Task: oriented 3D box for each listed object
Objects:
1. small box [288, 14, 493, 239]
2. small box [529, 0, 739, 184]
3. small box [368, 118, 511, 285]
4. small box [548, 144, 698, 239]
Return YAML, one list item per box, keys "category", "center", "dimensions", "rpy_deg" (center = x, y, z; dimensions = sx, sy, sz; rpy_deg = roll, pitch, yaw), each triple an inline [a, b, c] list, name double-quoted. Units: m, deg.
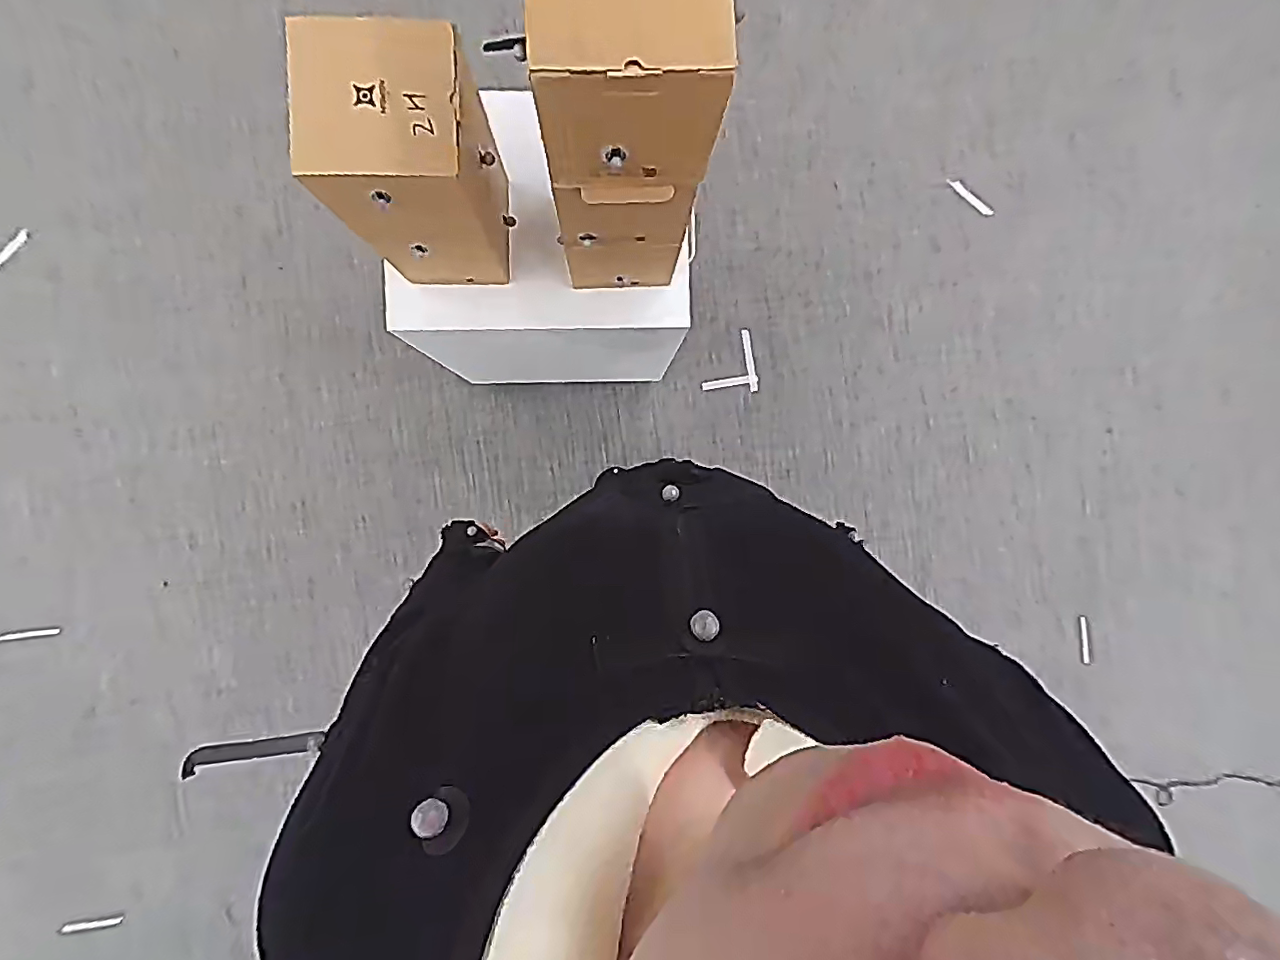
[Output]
- category: "small box"
  center: [-0.283, -0.404, 0.646]
  dimensions: [0.179, 0.176, 0.168]
  rpy_deg: [-1, 92, -3]
- category: "small box"
  center: [-0.012, -0.405, 0.499]
  dimensions: [0.168, 0.176, 0.179]
  rpy_deg: [-3, 92, -3]
- category: "small box"
  center: [-0.291, -0.411, 0.811]
  dimensions: [0.168, 0.176, 0.179]
  rpy_deg: [-1, 90, -3]
- category: "small box"
  center: [-0.022, -0.410, 0.661]
  dimensions: [0.168, 0.176, 0.179]
  rpy_deg: [-3, 91, -3]
